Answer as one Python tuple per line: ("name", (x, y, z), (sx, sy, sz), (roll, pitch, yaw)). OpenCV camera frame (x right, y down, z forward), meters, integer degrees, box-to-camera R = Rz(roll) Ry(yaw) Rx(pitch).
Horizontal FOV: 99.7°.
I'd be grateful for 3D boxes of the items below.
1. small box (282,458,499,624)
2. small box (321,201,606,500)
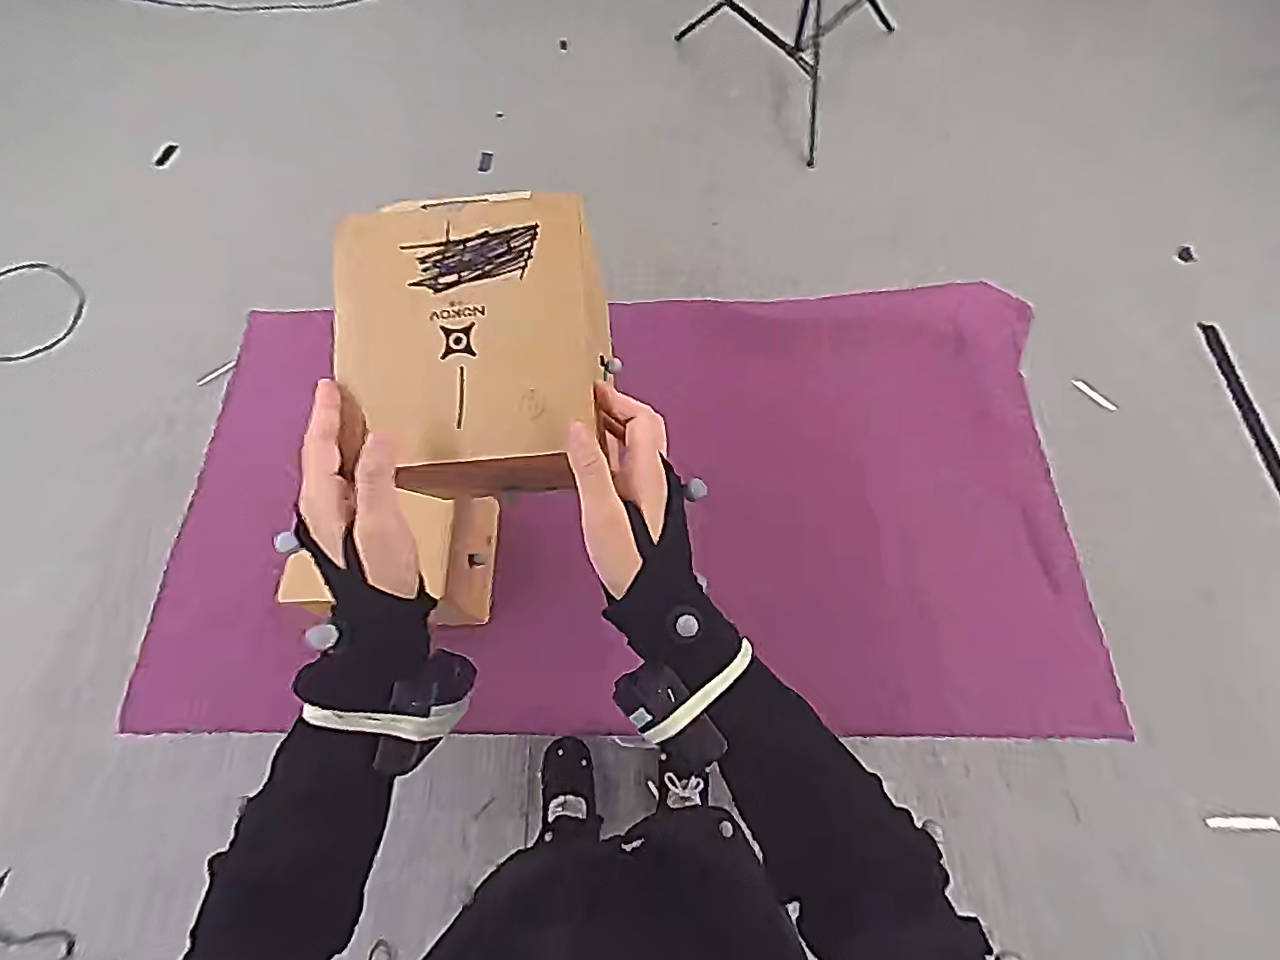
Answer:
("small box", (-0.281, 0.079, 0.658), (0.179, 0.176, 0.168), (-2, 67, 2))
("small box", (-0.120, -0.083, 0.425), (0.168, 0.176, 0.179), (-5, 83, 2))
